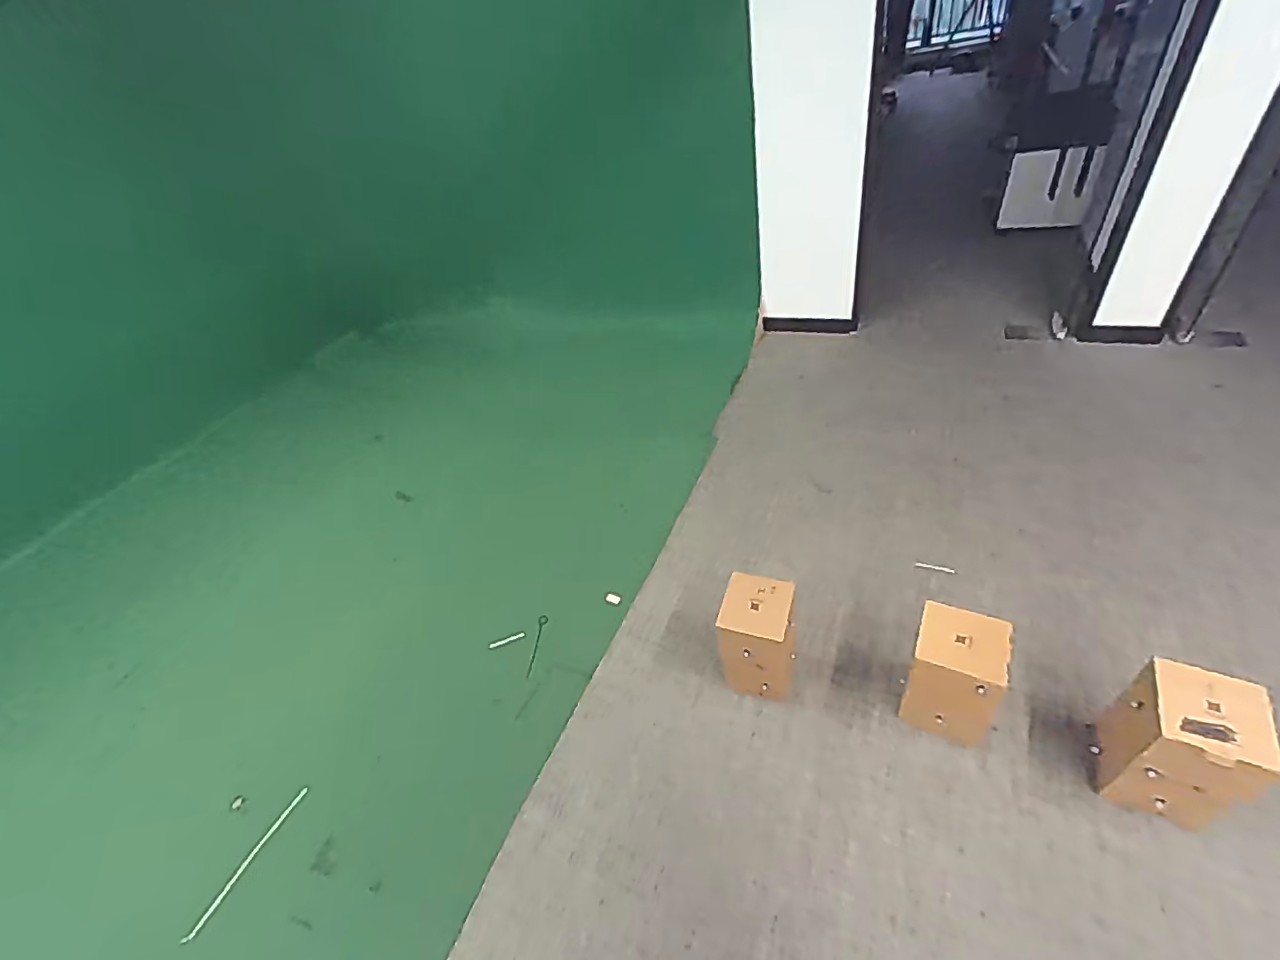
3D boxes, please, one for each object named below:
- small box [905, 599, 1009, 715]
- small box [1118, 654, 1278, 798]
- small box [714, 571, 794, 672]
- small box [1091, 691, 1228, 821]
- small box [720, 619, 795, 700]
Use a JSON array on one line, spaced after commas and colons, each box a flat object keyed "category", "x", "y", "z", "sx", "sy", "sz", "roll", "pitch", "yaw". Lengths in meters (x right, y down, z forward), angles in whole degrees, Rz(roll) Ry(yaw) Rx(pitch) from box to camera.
[{"category": "small box", "x": 0.724, "y": 0.410, "z": 1.246, "sx": 0.179, "sy": 0.176, "sz": 0.168, "roll": 13, "pitch": 48, "yaw": 28}, {"category": "small box", "x": 1.077, "y": 0.484, "z": 1.061, "sx": 0.168, "sy": 0.176, "sz": 0.179, "roll": 13, "pitch": 48, "yaw": 28}, {"category": "small box", "x": 0.303, "y": 0.371, "z": 1.409, "sx": 0.168, "sy": 0.176, "sz": 0.179, "roll": 9, "pitch": 47, "yaw": 22}, {"category": "small box", "x": 1.112, "y": 0.600, "z": 1.173, "sx": 0.168, "sy": 0.176, "sz": 0.179, "roll": 12, "pitch": 49, "yaw": 26}, {"category": "small box", "x": 0.336, "y": 0.488, "z": 1.519, "sx": 0.168, "sy": 0.176, "sz": 0.179, "roll": 9, "pitch": 46, "yaw": 24}]
